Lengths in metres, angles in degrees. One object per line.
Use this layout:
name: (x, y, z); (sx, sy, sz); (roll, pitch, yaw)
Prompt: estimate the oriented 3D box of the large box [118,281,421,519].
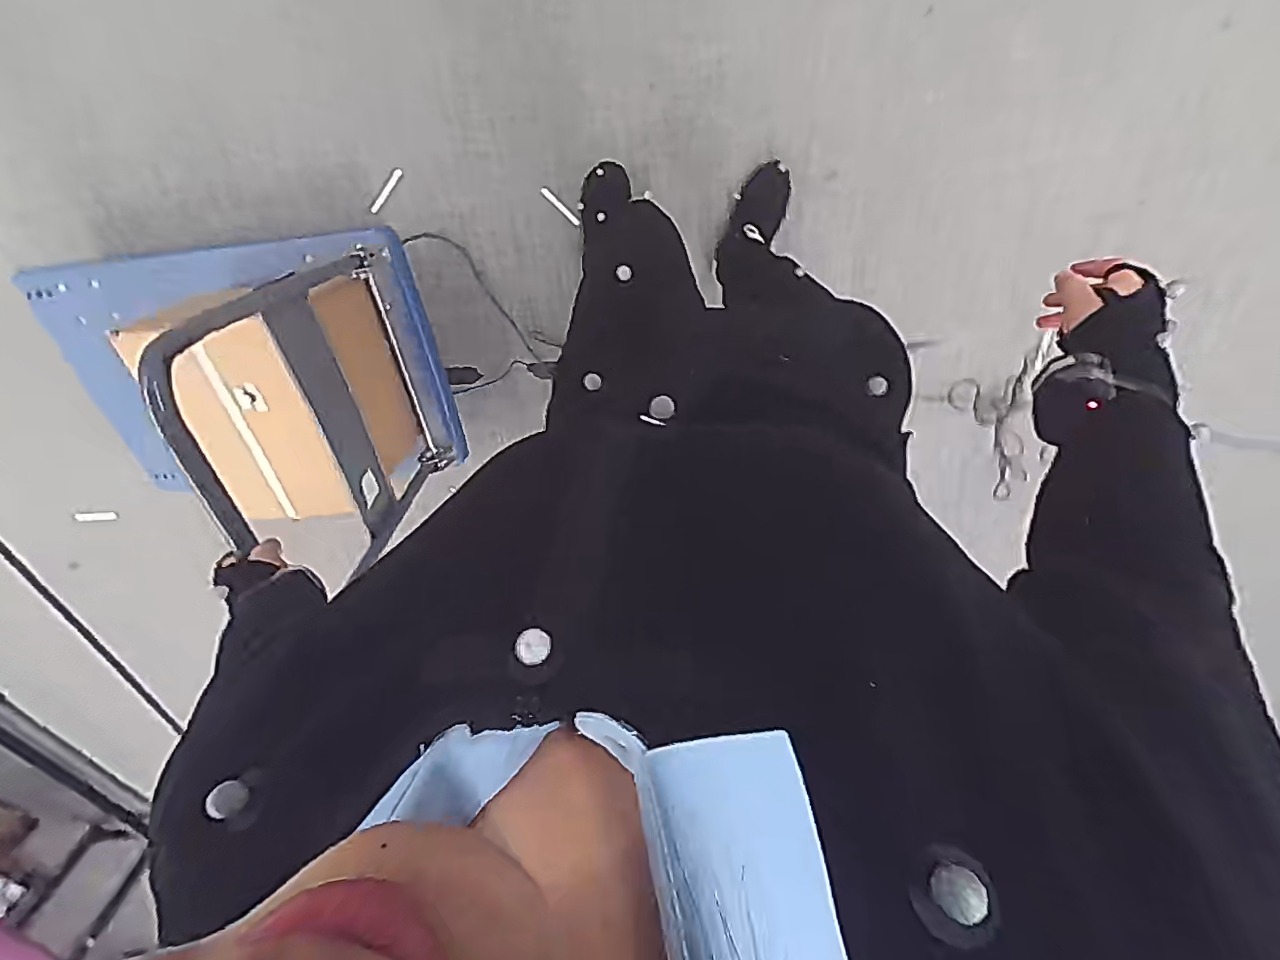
large box: (-0.728, -0.174, 1.153); (0.320, 0.320, 0.408); (-5, 121, 4)
